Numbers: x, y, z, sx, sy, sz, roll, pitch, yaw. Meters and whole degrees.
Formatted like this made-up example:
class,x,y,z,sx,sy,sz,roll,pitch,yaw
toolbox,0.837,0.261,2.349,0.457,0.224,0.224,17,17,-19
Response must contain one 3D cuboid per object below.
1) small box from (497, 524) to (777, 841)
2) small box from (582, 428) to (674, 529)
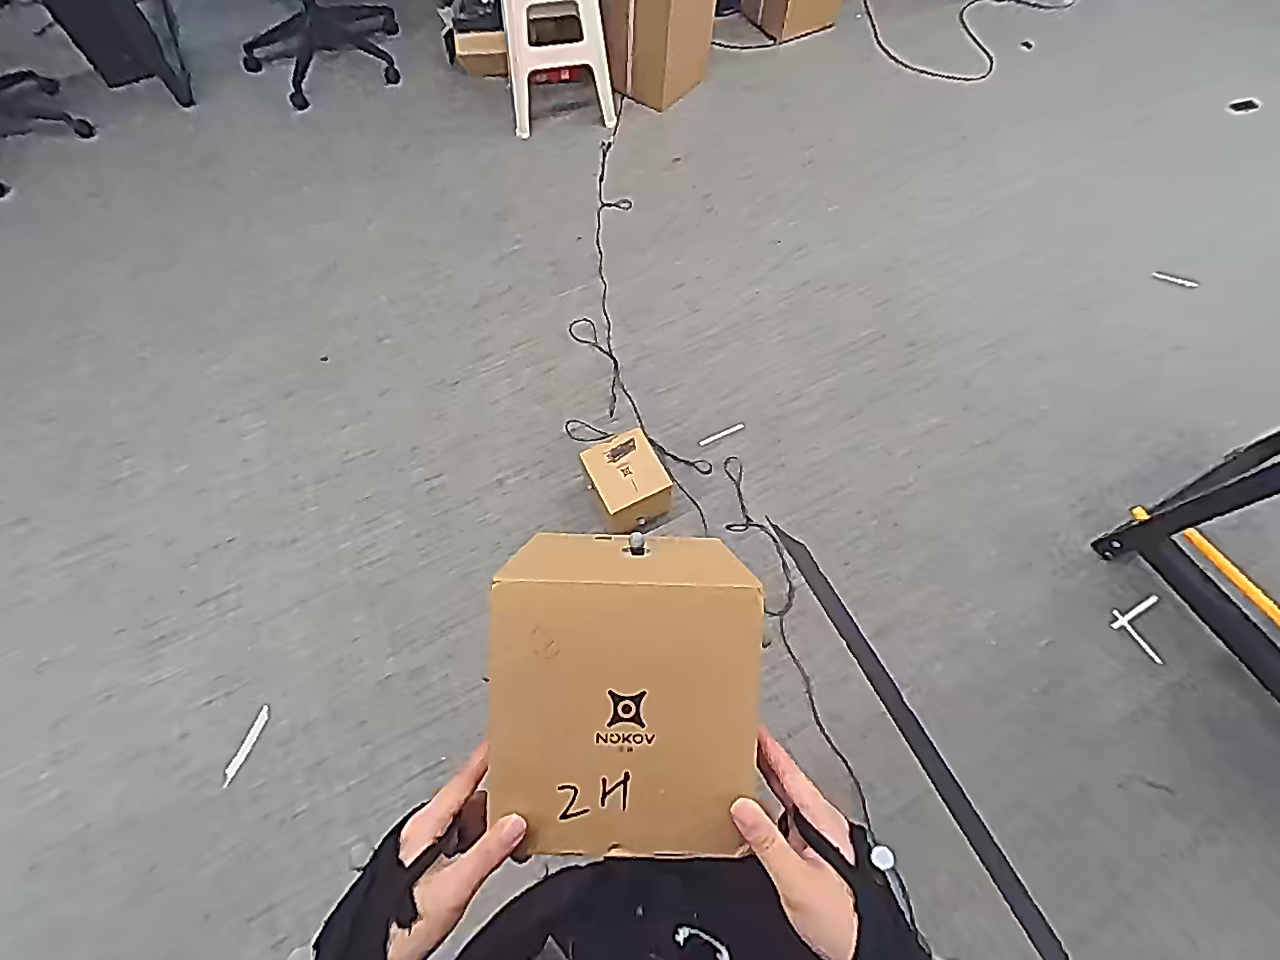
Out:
class,x,y,z,sx,sy,sz,roll,pitch,yaw
small box,-0.004,0.130,0.408,0.168,0.176,0.179,2,93,-1
small box,-0.031,0.008,1.342,0.168,0.176,0.179,-25,68,-11
